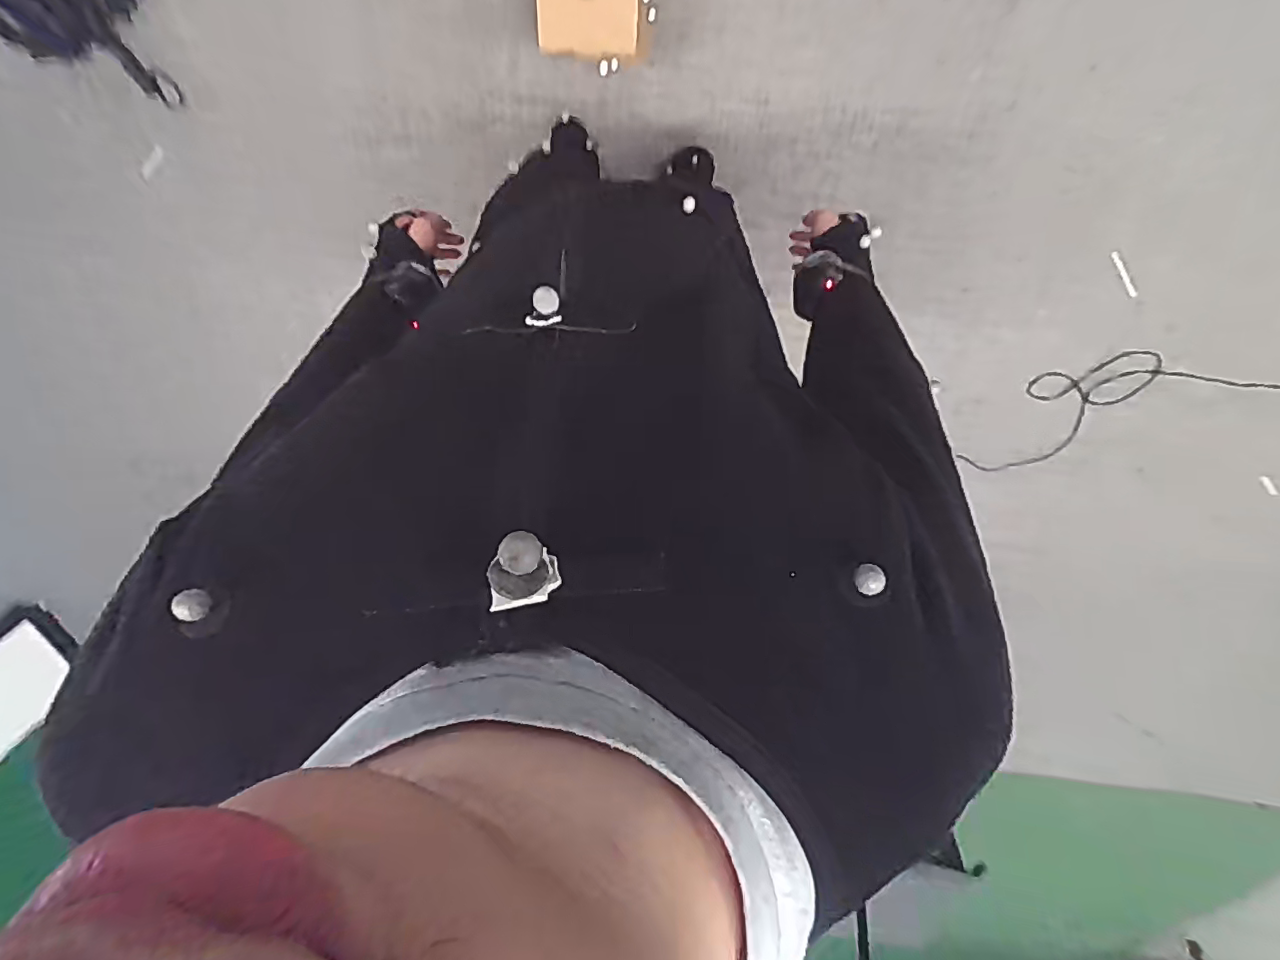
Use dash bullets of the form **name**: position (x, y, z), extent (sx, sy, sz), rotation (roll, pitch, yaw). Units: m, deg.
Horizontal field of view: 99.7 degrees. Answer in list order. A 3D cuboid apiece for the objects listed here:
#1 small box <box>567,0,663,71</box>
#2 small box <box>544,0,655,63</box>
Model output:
- **small box**: position (-0.047, -0.912, 1.046), extent (0.168, 0.176, 0.179), rotation (8, 126, 4)
- **small box**: position (-0.062, -0.821, 0.913), extent (0.168, 0.176, 0.179), rotation (5, 125, 4)
